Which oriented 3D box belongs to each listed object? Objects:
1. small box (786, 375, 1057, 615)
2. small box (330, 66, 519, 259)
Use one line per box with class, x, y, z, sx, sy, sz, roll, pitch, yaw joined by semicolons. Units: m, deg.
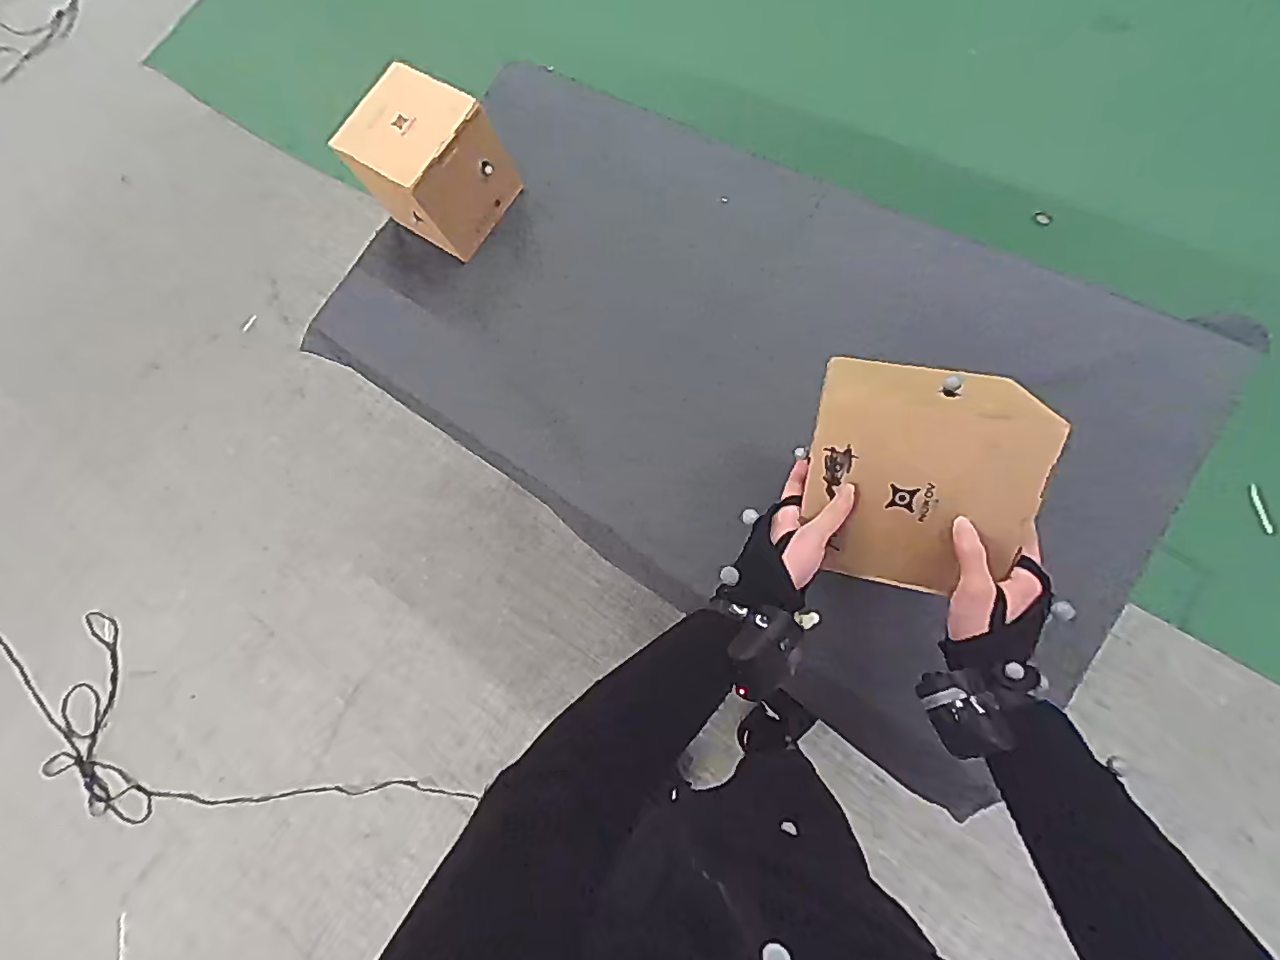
small box;0.250;0.000;0.527;0.179;0.176;0.168;11;114;16
small box;-0.321;-0.480;0.844;0.179;0.176;0.168;36;83;16
